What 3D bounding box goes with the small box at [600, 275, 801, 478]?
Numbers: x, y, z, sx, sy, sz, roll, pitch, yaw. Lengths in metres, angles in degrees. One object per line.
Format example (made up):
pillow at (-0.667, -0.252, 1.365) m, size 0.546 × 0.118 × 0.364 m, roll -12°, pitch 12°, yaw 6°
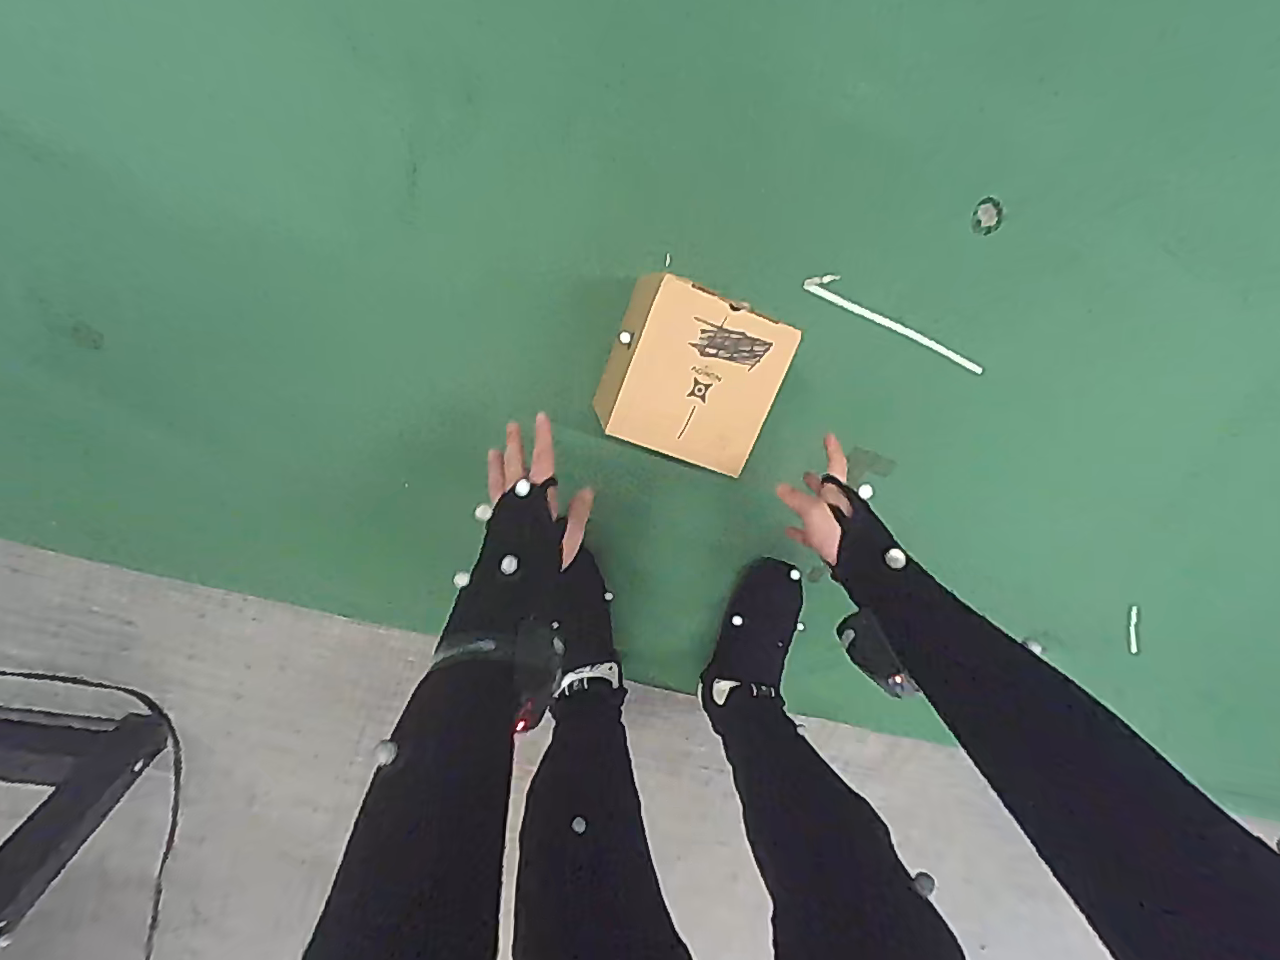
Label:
small box at (0.056, -0.129, 0.651) m, size 0.168 × 0.176 × 0.179 m, roll 18°, pitch 105°, yaw -14°
